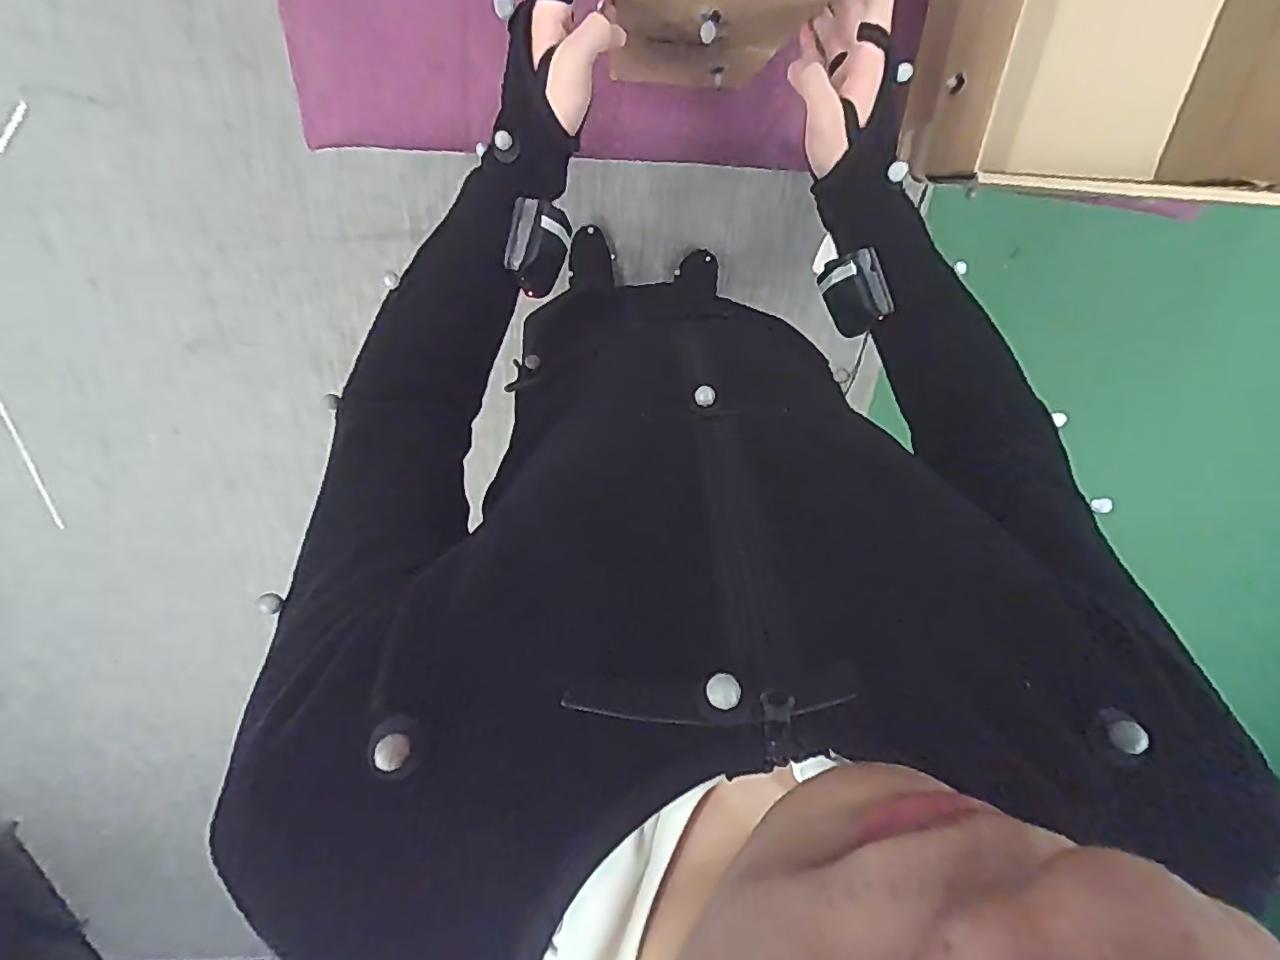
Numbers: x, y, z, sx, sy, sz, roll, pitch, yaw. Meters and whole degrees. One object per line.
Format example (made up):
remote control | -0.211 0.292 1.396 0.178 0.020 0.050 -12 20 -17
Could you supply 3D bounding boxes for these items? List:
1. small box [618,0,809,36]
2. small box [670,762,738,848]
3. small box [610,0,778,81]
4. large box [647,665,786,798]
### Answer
small box | 0.066 -0.470 0.411 0.168 0.176 0.179 1 117 -5
small box | 0.214 1.112 1.858 0.179 0.176 0.168 -28 114 10
small box | 0.055 -0.538 0.559 0.168 0.176 0.179 2 115 -5
large box | 0.280 0.994 2.080 0.408 0.320 0.320 -28 116 9
